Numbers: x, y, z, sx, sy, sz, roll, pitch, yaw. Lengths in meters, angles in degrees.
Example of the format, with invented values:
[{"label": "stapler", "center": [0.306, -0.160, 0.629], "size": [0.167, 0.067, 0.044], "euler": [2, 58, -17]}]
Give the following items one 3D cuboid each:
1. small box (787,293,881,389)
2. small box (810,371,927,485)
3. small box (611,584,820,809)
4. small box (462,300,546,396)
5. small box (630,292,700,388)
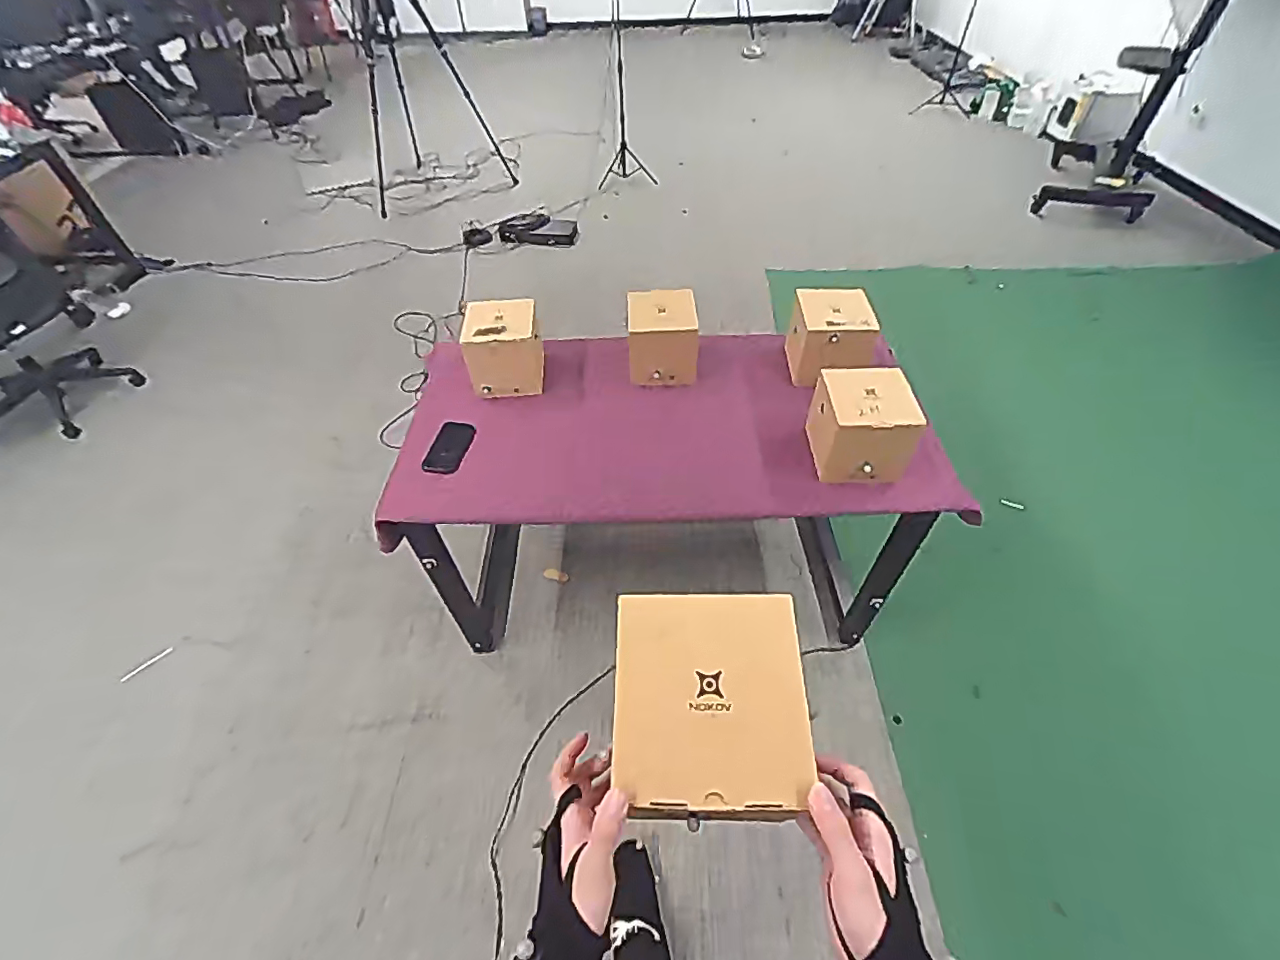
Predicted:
[{"label": "small box", "center": [0.470, -0.344, 1.339], "size": [0.168, 0.176, 0.179], "euler": [0, 48, 3]}, {"label": "small box", "center": [0.461, -0.109, 1.126], "size": [0.168, 0.176, 0.179], "euler": [0, 48, 3]}, {"label": "small box", "center": [0.062, 0.216, 0.532], "size": [0.168, 0.176, 0.179], "euler": [0, 57, 2]}, {"label": "small box", "center": [-0.328, -0.322, 1.341], "size": [0.168, 0.176, 0.179], "euler": [-4, 48, -2]}, {"label": "small box", "center": [0.059, -0.351, 1.359], "size": [0.168, 0.176, 0.179], "euler": [-2, 49, 1]}]
